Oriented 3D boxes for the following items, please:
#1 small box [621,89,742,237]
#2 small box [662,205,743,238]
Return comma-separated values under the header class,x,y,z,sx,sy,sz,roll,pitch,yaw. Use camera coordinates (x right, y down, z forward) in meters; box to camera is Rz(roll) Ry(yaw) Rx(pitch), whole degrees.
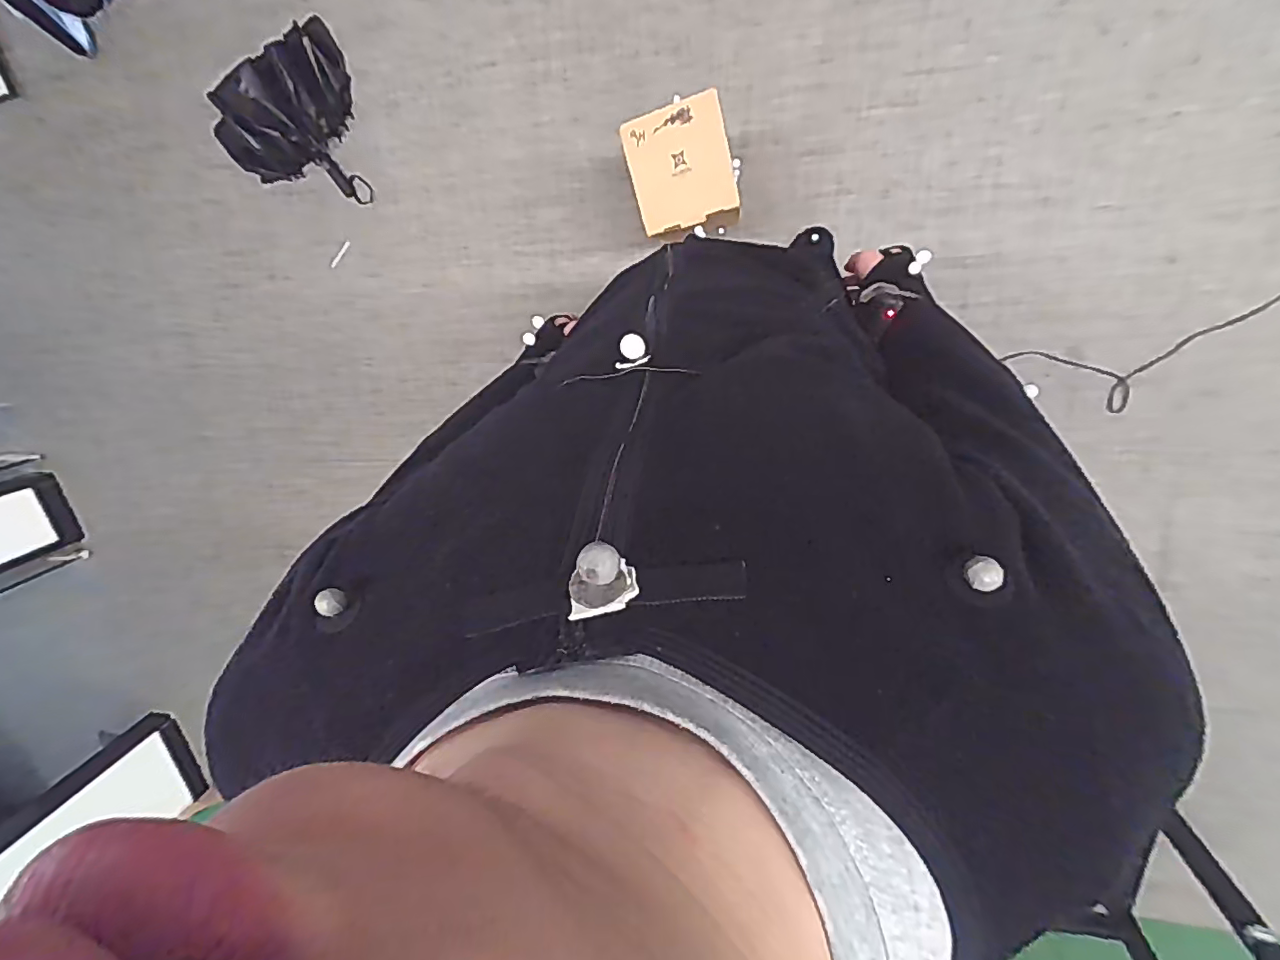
class,x,y,z,sx,sy,sz,roll,pitch,yaw
small box,0.083,-0.545,0.953,0.168,0.176,0.179,-11,111,16
small box,0.112,-0.606,1.100,0.168,0.176,0.179,-11,111,16
